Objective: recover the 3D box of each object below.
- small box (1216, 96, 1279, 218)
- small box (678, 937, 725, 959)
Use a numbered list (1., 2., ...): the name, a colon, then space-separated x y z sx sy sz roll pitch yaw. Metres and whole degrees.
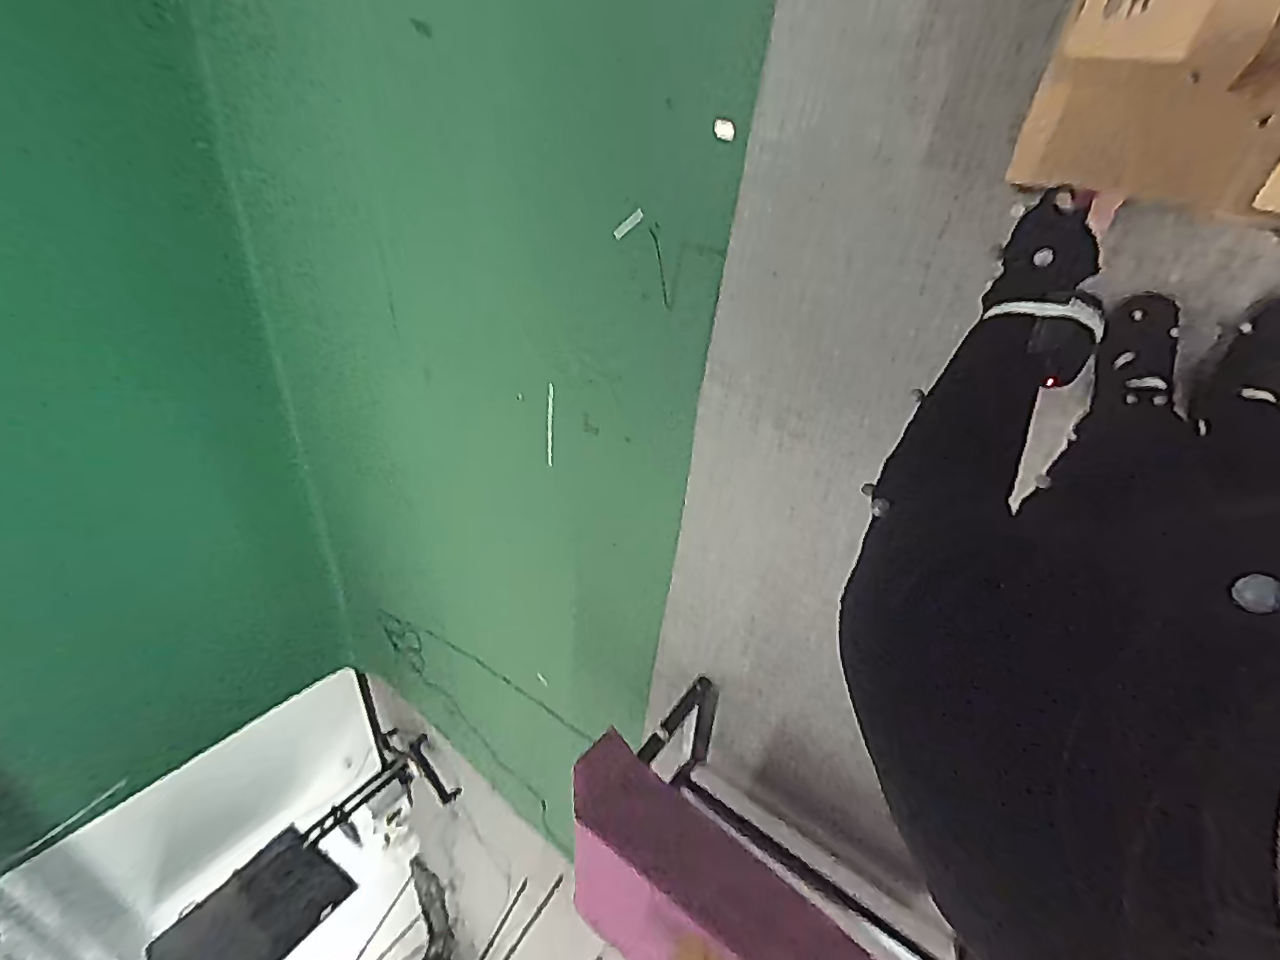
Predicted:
1. small box: 0.674 -0.314 0.472 0.179 0.176 0.168 27 125 25
2. small box: 0.159 1.350 1.411 0.179 0.176 0.168 25 127 29
